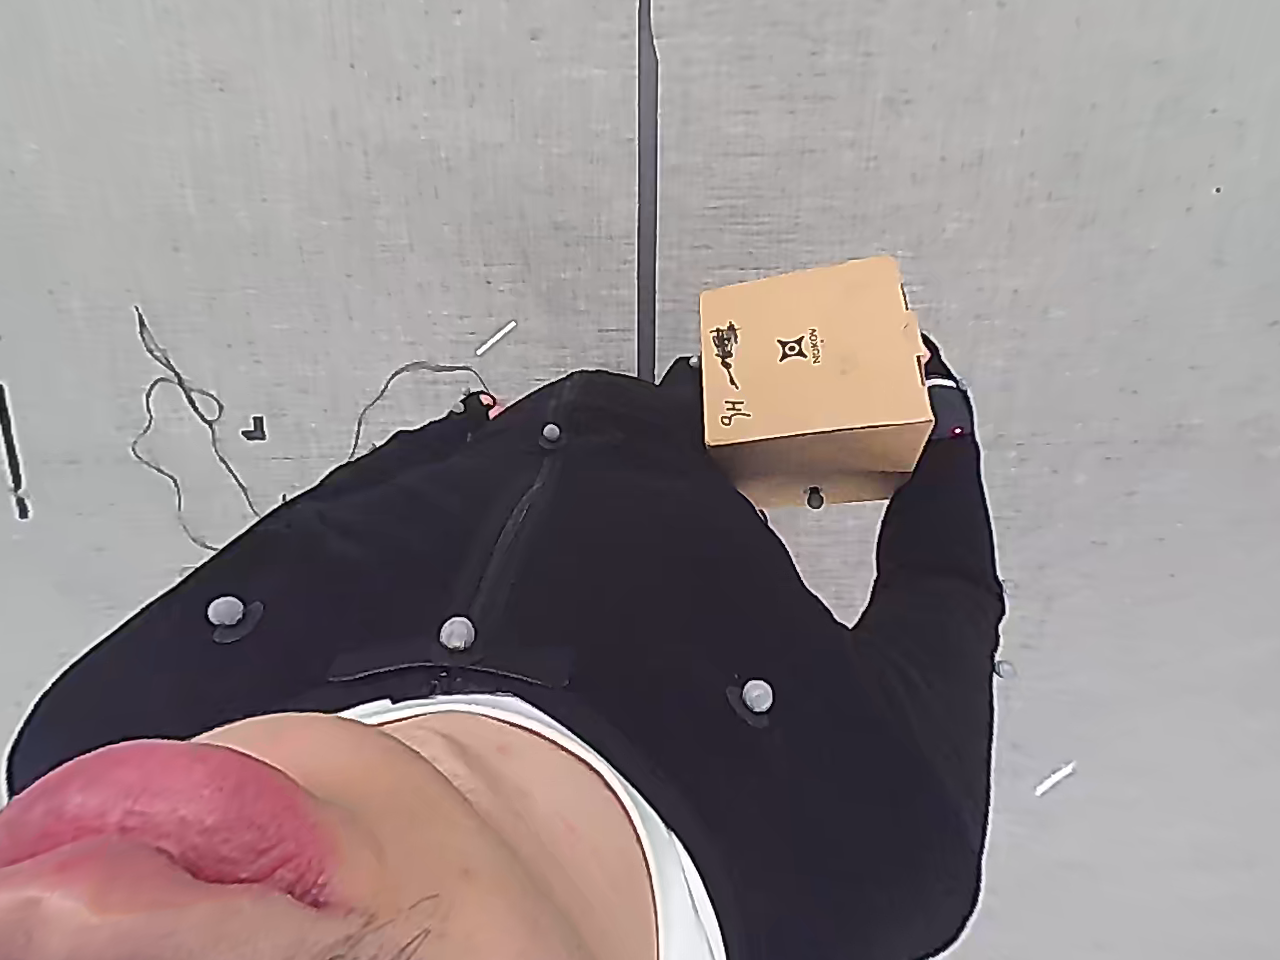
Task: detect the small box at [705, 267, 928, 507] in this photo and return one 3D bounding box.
[{"bbox_3d":[0.165,-0.080,0.546,0.179,0.176,0.168,-5,65,14],"label":"small box"}]
